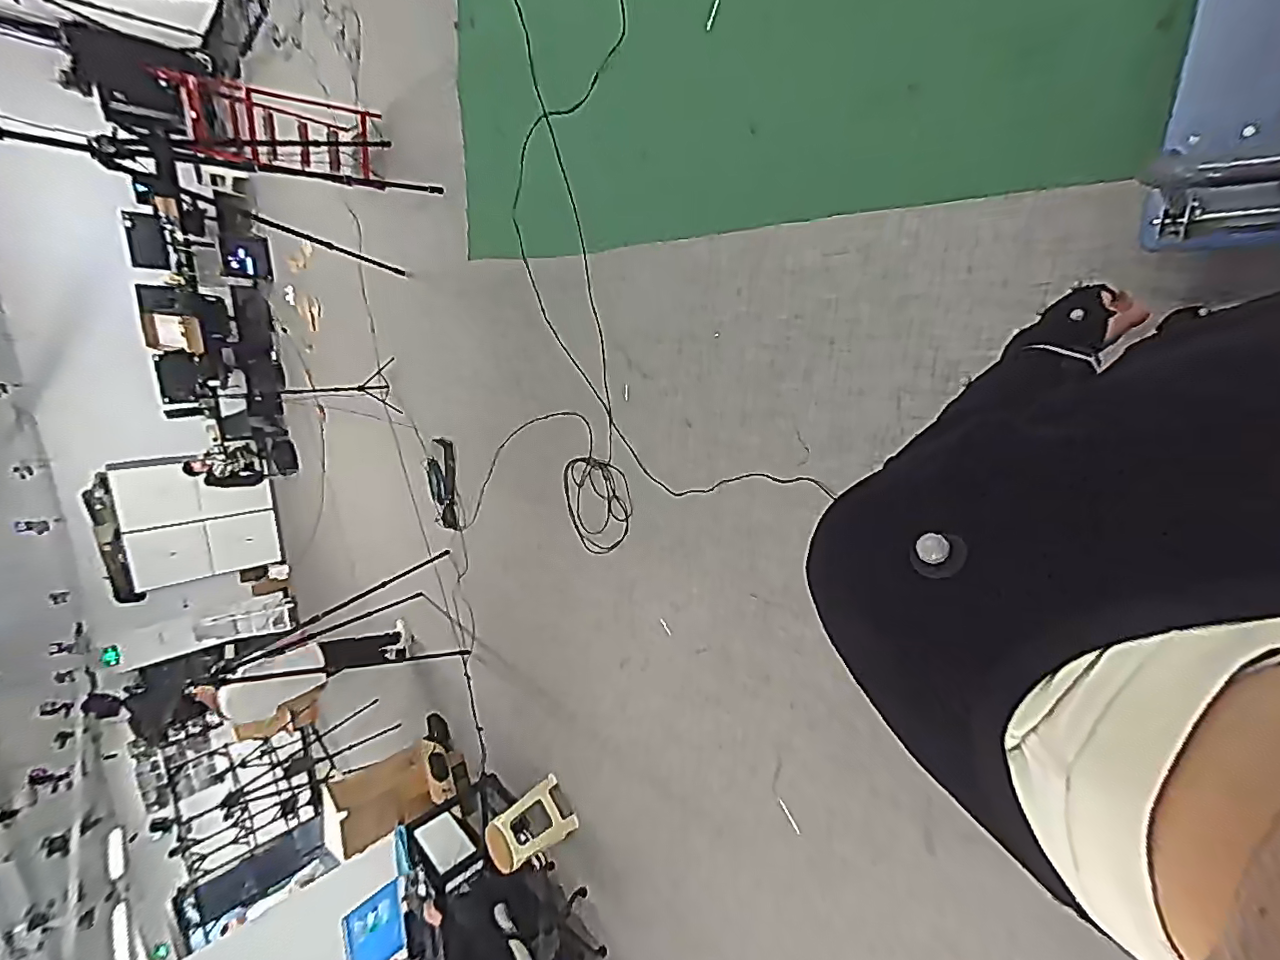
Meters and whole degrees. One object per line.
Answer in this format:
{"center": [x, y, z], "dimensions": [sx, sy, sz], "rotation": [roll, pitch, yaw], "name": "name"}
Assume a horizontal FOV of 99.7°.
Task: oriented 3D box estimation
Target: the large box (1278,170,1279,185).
{"center": [1.092, -0.642, 0.677], "dimensions": [0.320, 0.320, 0.408], "rotation": [15, 109, 43], "name": "large box"}
